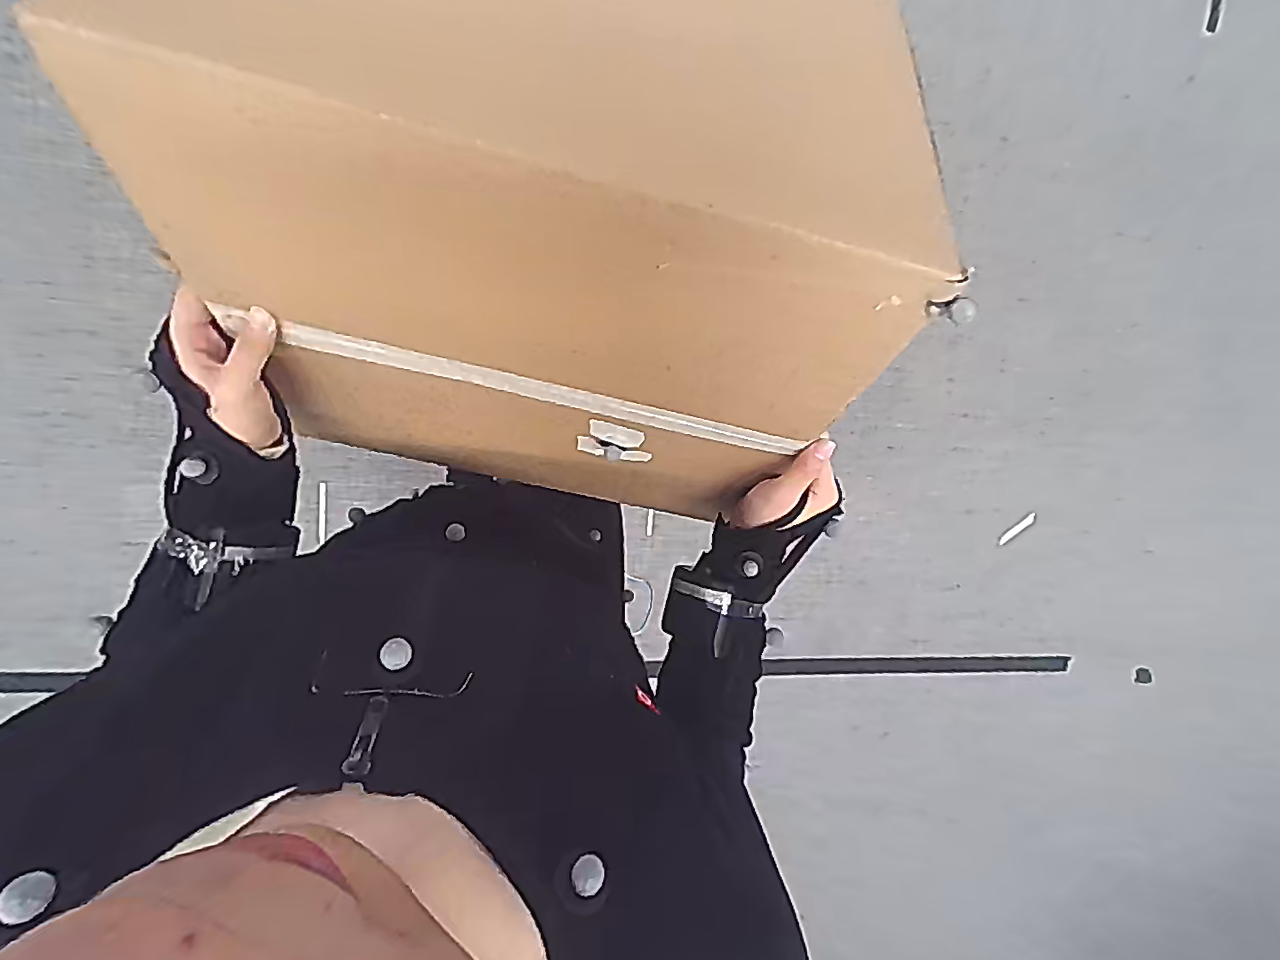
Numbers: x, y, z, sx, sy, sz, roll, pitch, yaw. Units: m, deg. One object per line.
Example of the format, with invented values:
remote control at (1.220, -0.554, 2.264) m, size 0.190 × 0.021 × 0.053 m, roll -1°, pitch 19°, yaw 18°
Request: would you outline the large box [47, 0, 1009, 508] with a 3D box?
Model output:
large box at (-0.042, -0.210, 0.416) m, size 0.408 × 0.320 × 0.320 m, roll 12°, pitch 63°, yaw -7°
